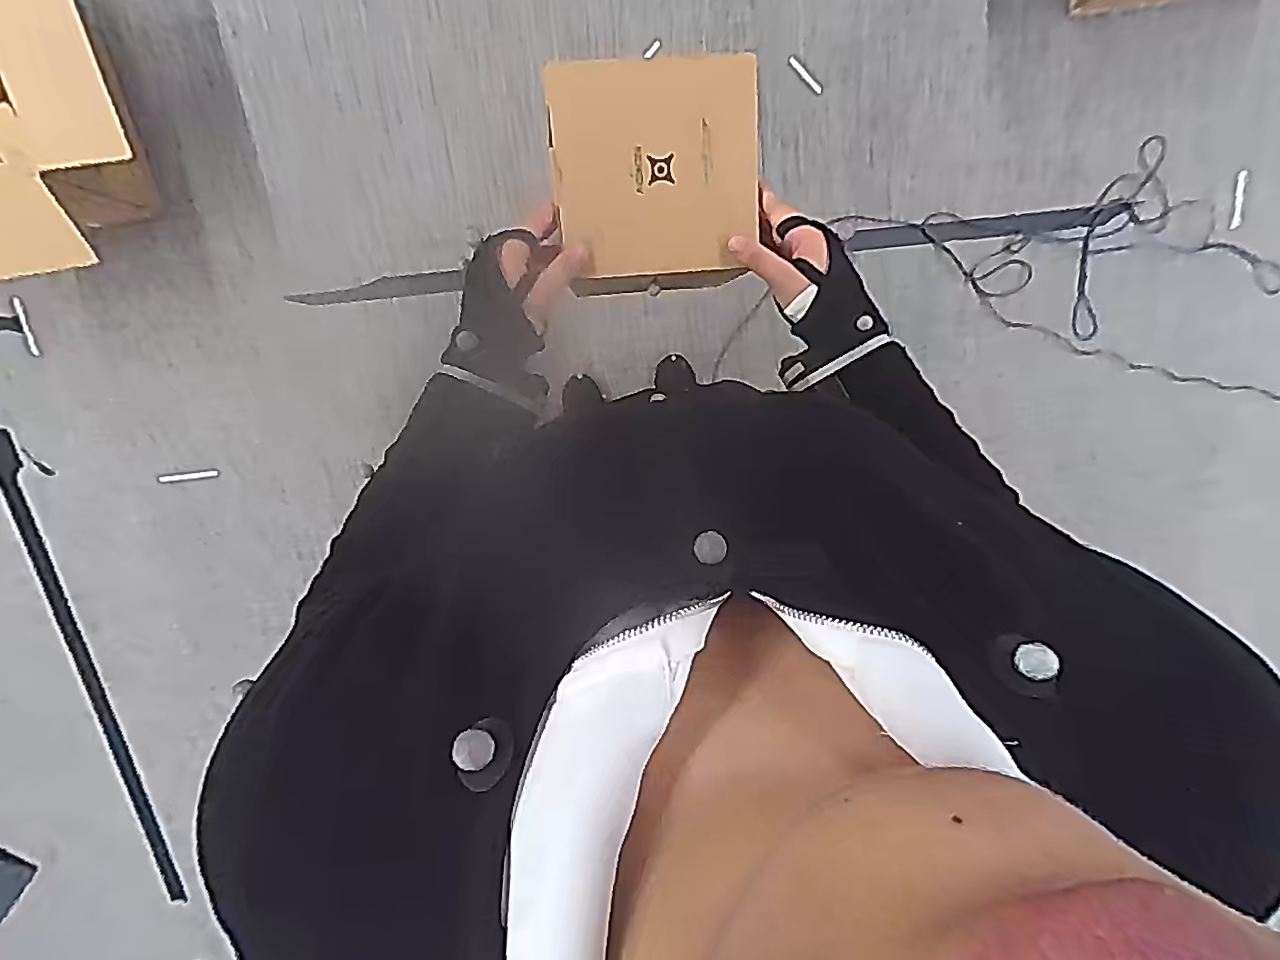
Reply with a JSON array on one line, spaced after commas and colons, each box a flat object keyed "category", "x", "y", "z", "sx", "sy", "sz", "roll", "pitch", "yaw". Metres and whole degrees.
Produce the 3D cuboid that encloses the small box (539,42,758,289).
[{"category": "small box", "x": 0.006, "y": -0.286, "z": 0.530, "sx": 0.179, "sy": 0.176, "sz": 0.168, "roll": -6, "pitch": 105, "yaw": -3}]
